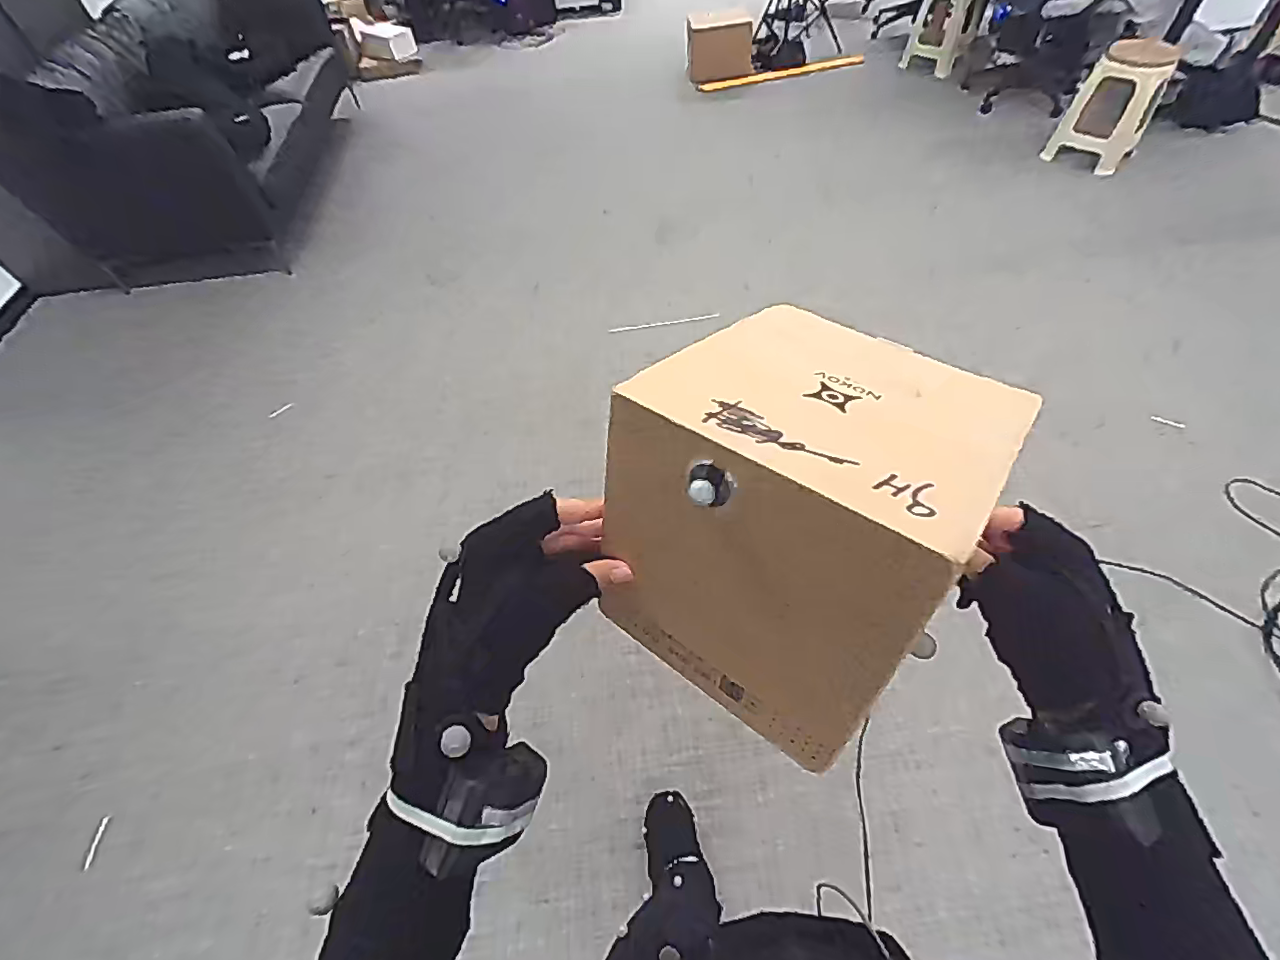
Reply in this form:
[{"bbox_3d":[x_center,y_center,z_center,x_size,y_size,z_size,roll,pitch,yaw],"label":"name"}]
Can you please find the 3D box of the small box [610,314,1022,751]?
[{"bbox_3d":[0.094,0.020,0.338,0.168,0.176,0.179,30,44,27],"label":"small box"}]
